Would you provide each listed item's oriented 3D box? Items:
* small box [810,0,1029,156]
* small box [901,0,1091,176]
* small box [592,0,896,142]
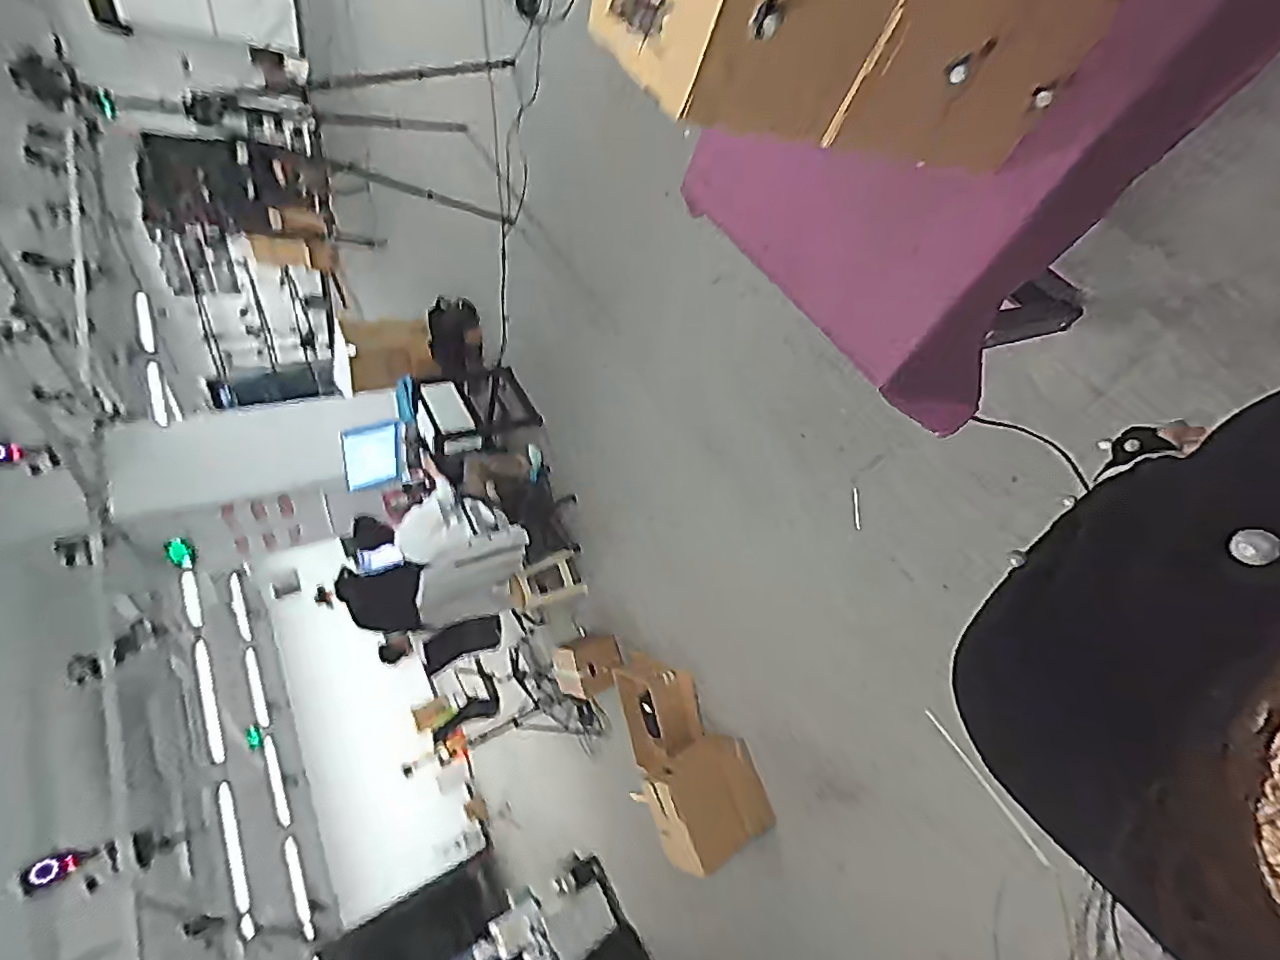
[{"bbox_3d":[0.221,-0.439,0.525,0.179,0.176,0.168,56,144,25],"label":"small box"},{"bbox_3d":[0.357,-0.474,0.612,0.168,0.176,0.179,56,143,26],"label":"small box"},{"bbox_3d":[0.089,-0.404,0.433,0.168,0.176,0.179,58,143,23],"label":"small box"}]
